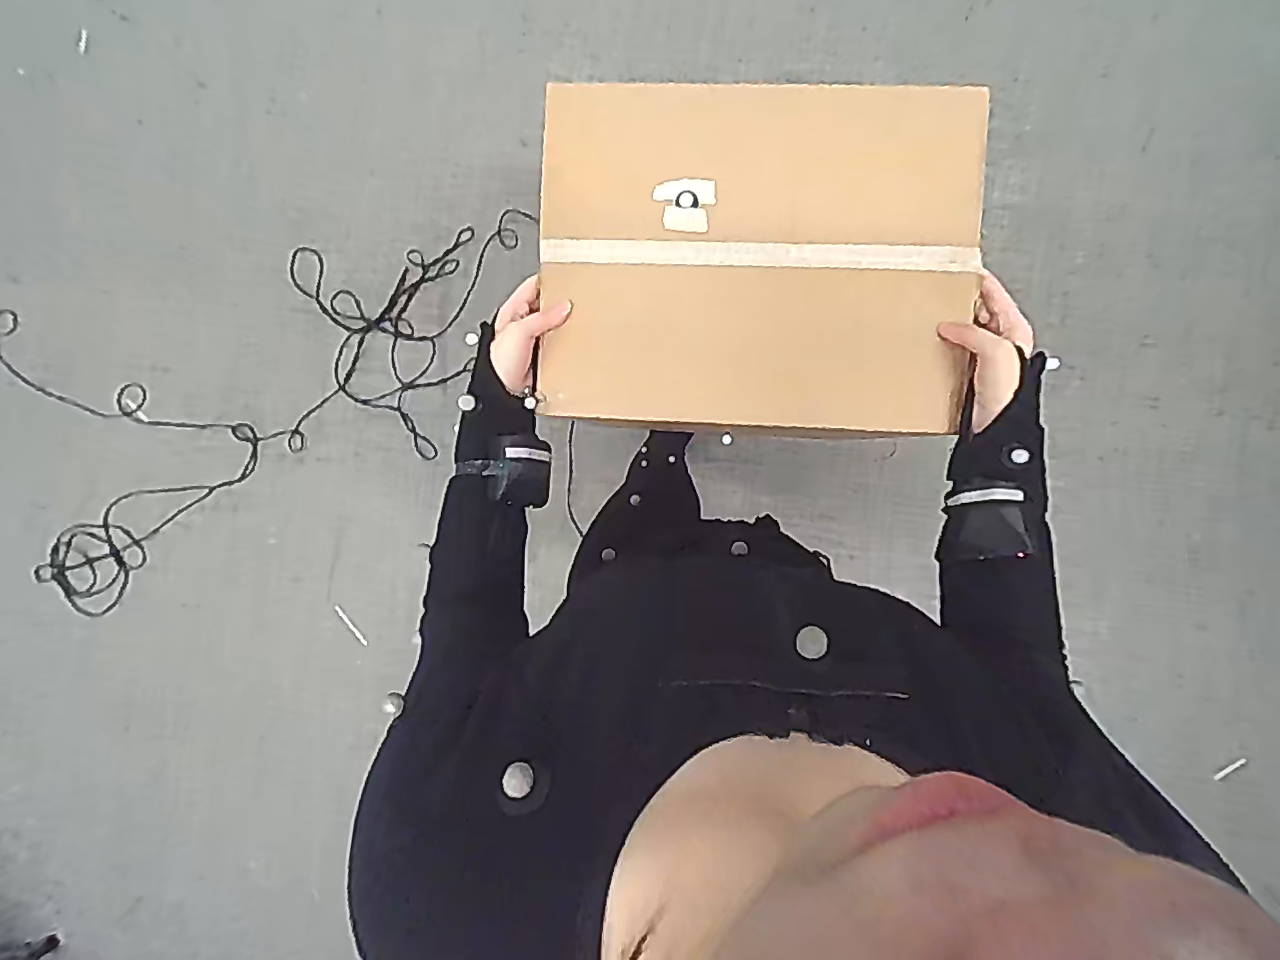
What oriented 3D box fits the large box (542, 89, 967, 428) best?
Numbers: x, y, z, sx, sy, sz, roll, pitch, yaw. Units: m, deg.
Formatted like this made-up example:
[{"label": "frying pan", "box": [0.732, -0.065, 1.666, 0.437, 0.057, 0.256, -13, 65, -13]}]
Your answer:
[{"label": "large box", "box": [0.117, -0.223, 0.671, 0.408, 0.320, 0.320, 3, 93, 5]}]
